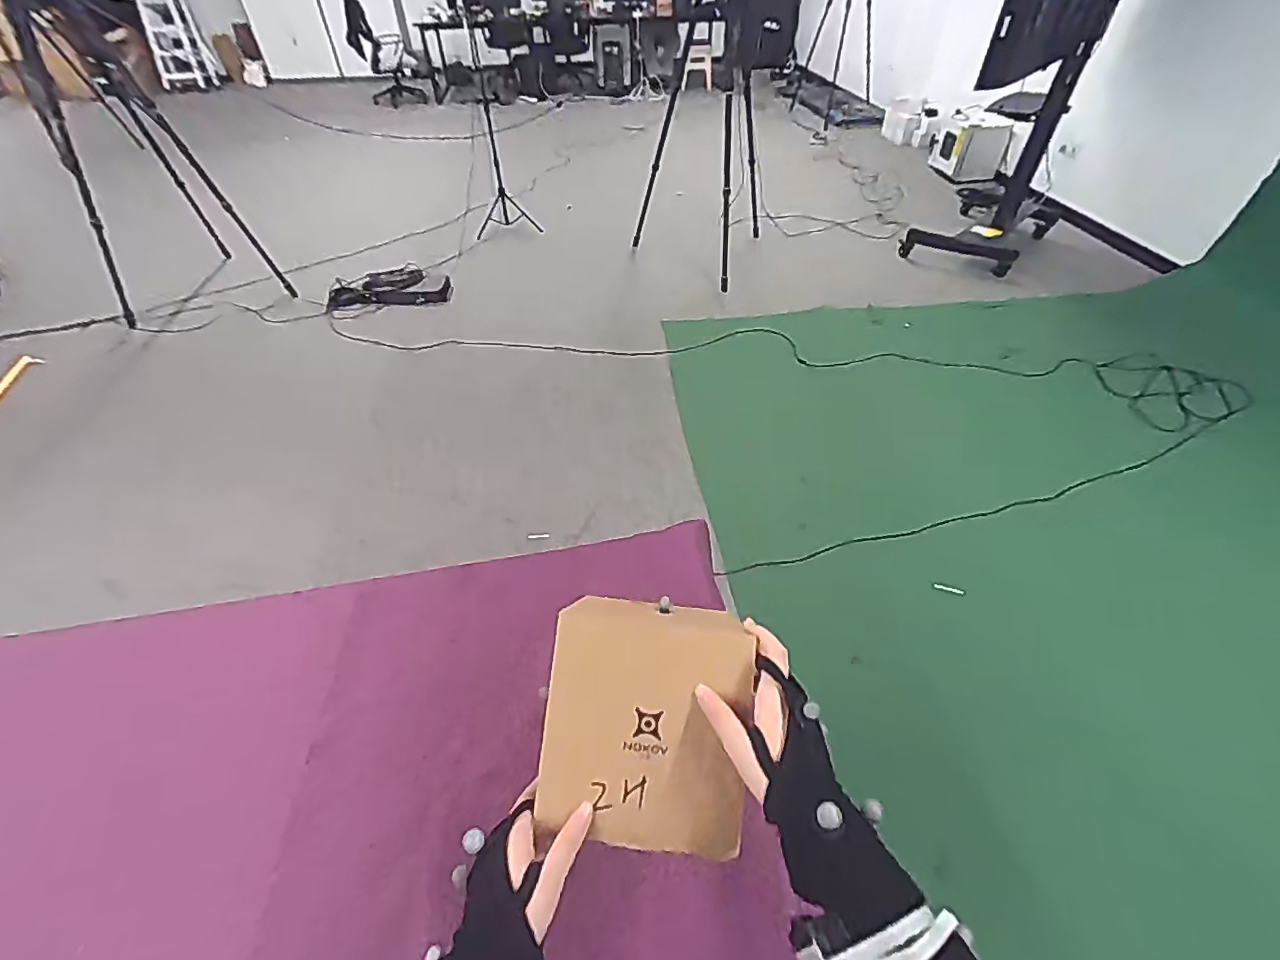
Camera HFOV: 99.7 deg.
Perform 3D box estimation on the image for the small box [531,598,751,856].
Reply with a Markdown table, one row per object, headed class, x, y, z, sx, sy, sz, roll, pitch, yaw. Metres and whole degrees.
| class | x | y | z | sx | sy | sz | roll | pitch | yaw |
| --- | --- | --- | --- | --- | --- | --- | --- | --- | --- |
| small box | 0.004 | 0.214 | 0.521 | 0.168 | 0.176 | 0.179 | 6 | 83 | 3 |
